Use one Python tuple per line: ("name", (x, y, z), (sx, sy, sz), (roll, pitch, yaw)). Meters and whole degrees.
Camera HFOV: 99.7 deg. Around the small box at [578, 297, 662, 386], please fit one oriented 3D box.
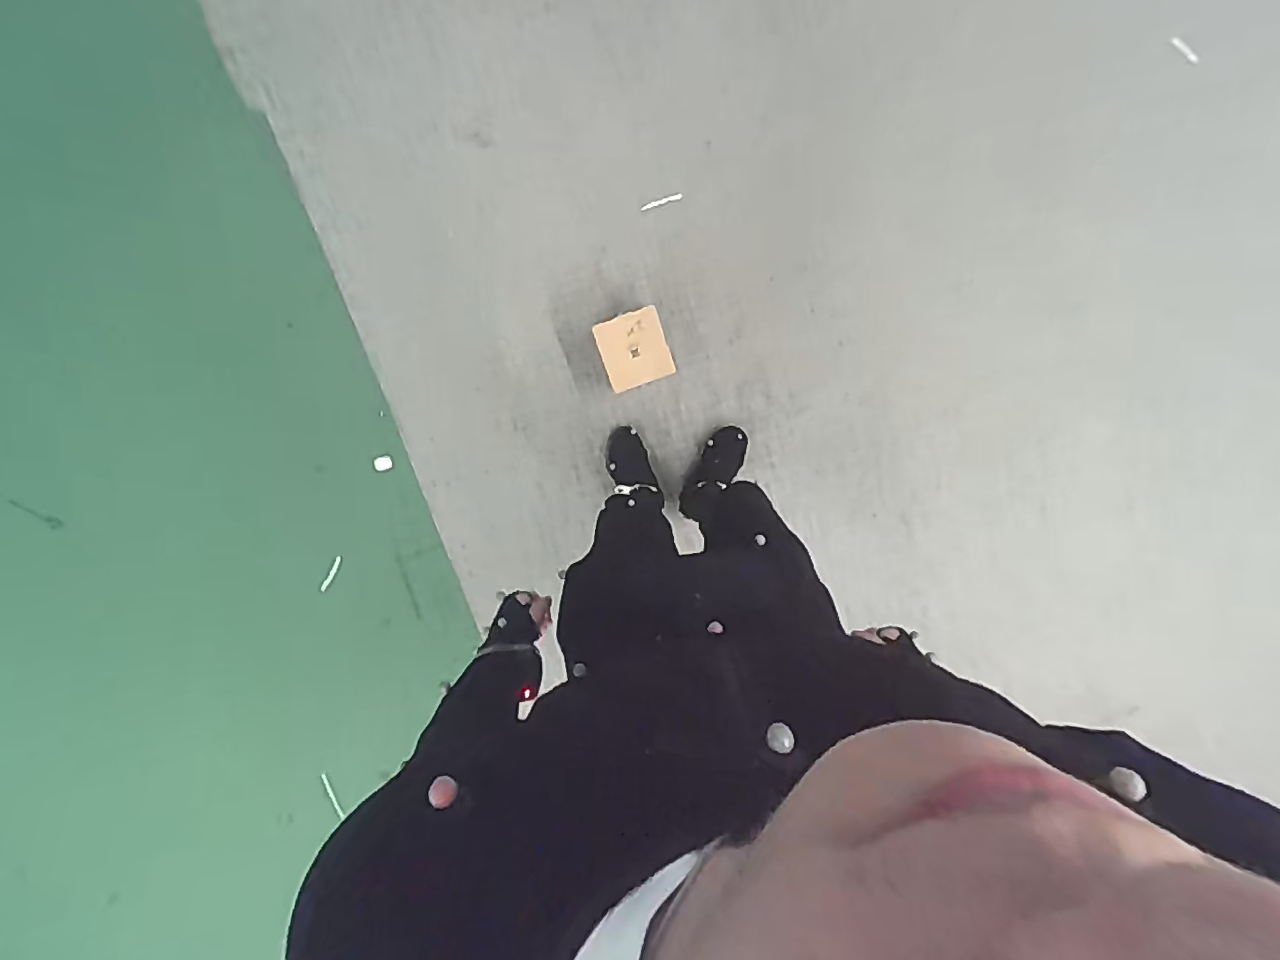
("small box", (-0.050, -0.353, 1.386), (0.168, 0.176, 0.179), (-18, 103, 0))
